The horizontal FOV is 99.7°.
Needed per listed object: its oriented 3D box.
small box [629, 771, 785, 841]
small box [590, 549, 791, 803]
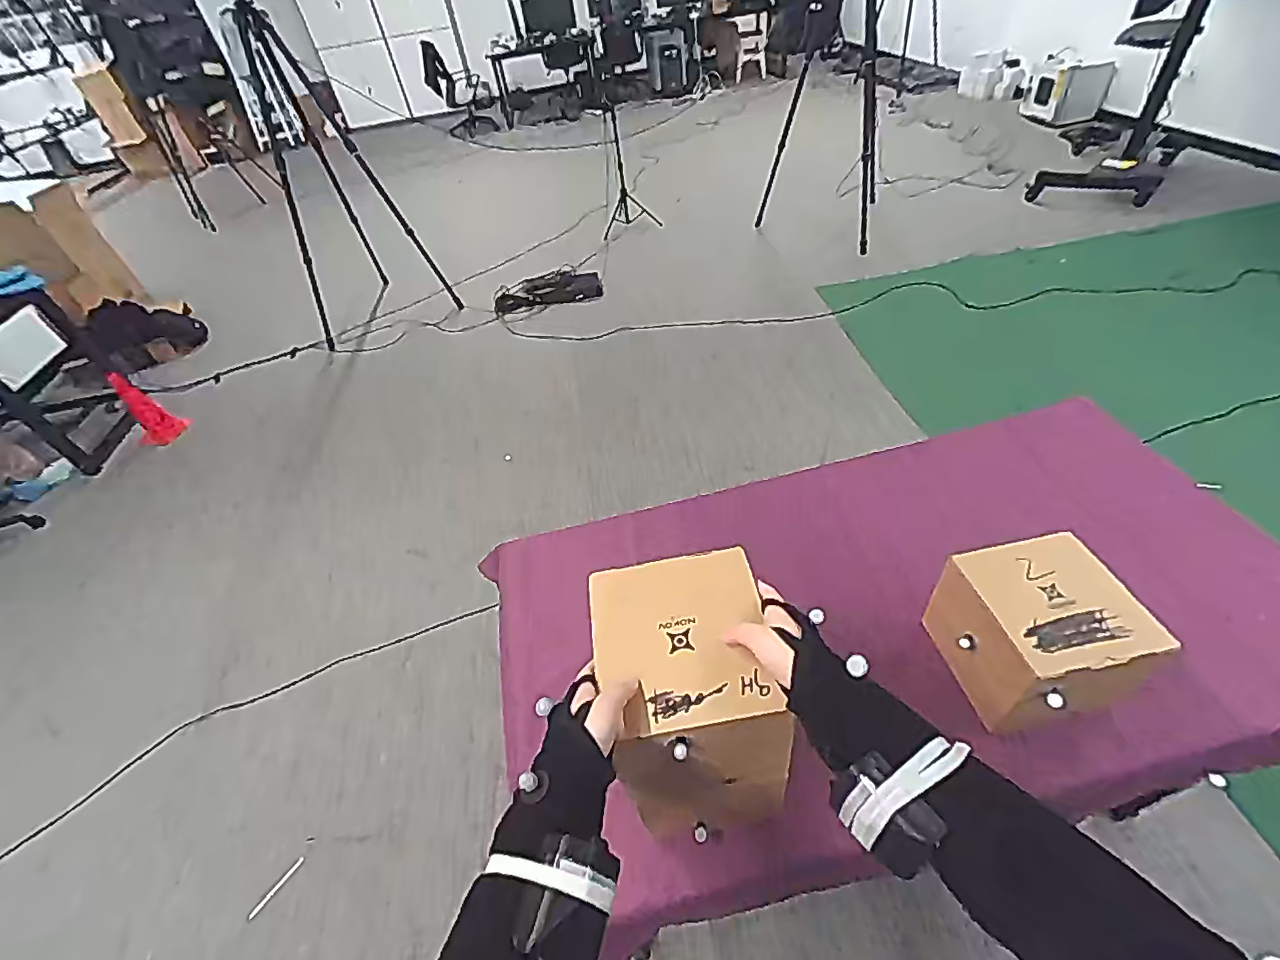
[{"bbox_3d":[0.072,0.318,0.674,0.168,0.176,0.179,-11,45,1],"label":"small box"},{"bbox_3d":[0.047,0.202,0.559,0.168,0.176,0.179,-12,43,2],"label":"small box"}]
